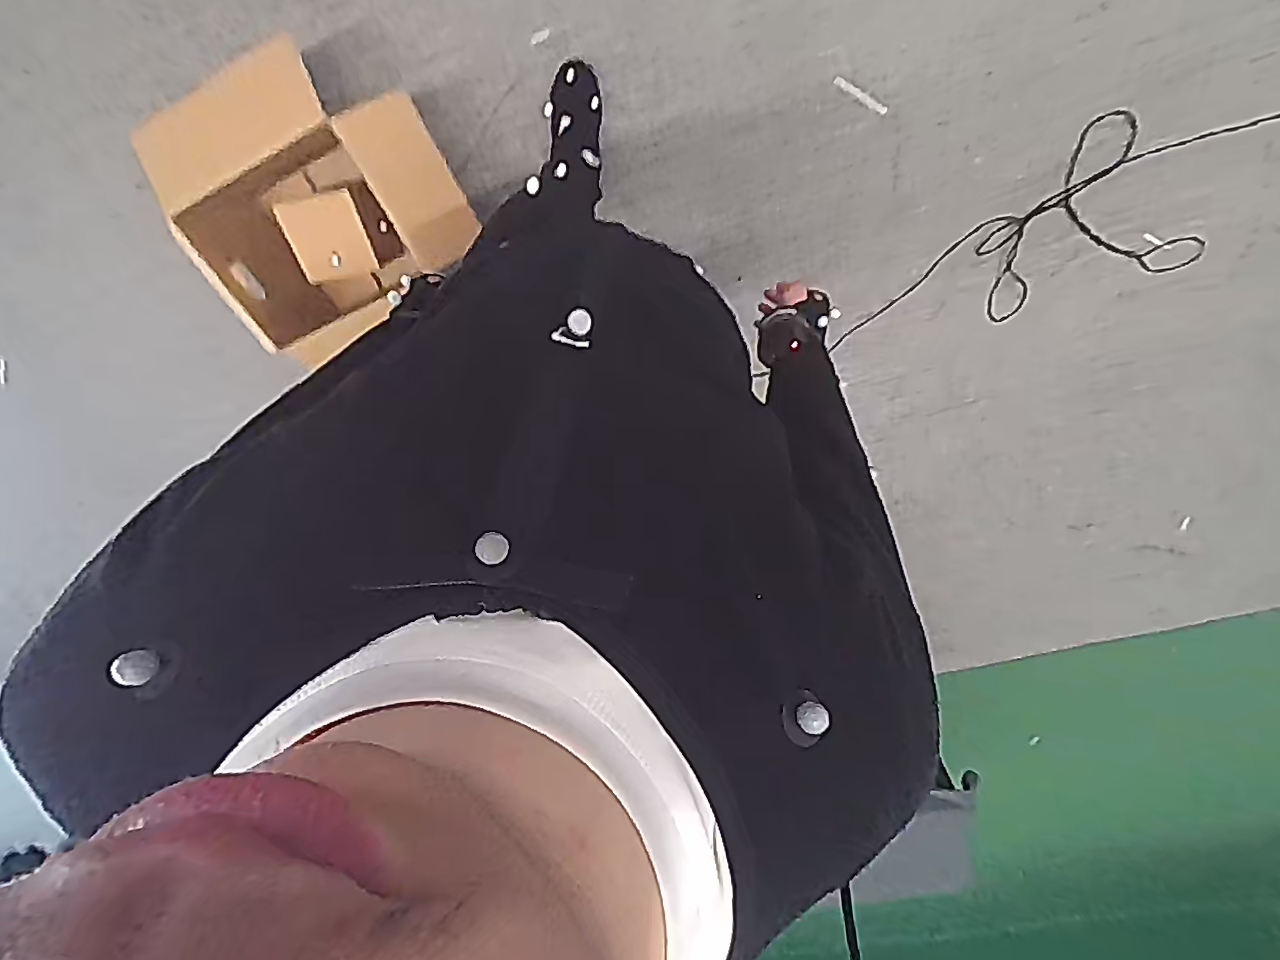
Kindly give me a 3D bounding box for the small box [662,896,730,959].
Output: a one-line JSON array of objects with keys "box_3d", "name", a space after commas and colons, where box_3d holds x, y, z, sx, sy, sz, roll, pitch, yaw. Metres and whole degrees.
[{"box_3d": [0.179, 1.473, 1.746, 0.168, 0.176, 0.179, -22, 121, 14], "name": "small box"}]
